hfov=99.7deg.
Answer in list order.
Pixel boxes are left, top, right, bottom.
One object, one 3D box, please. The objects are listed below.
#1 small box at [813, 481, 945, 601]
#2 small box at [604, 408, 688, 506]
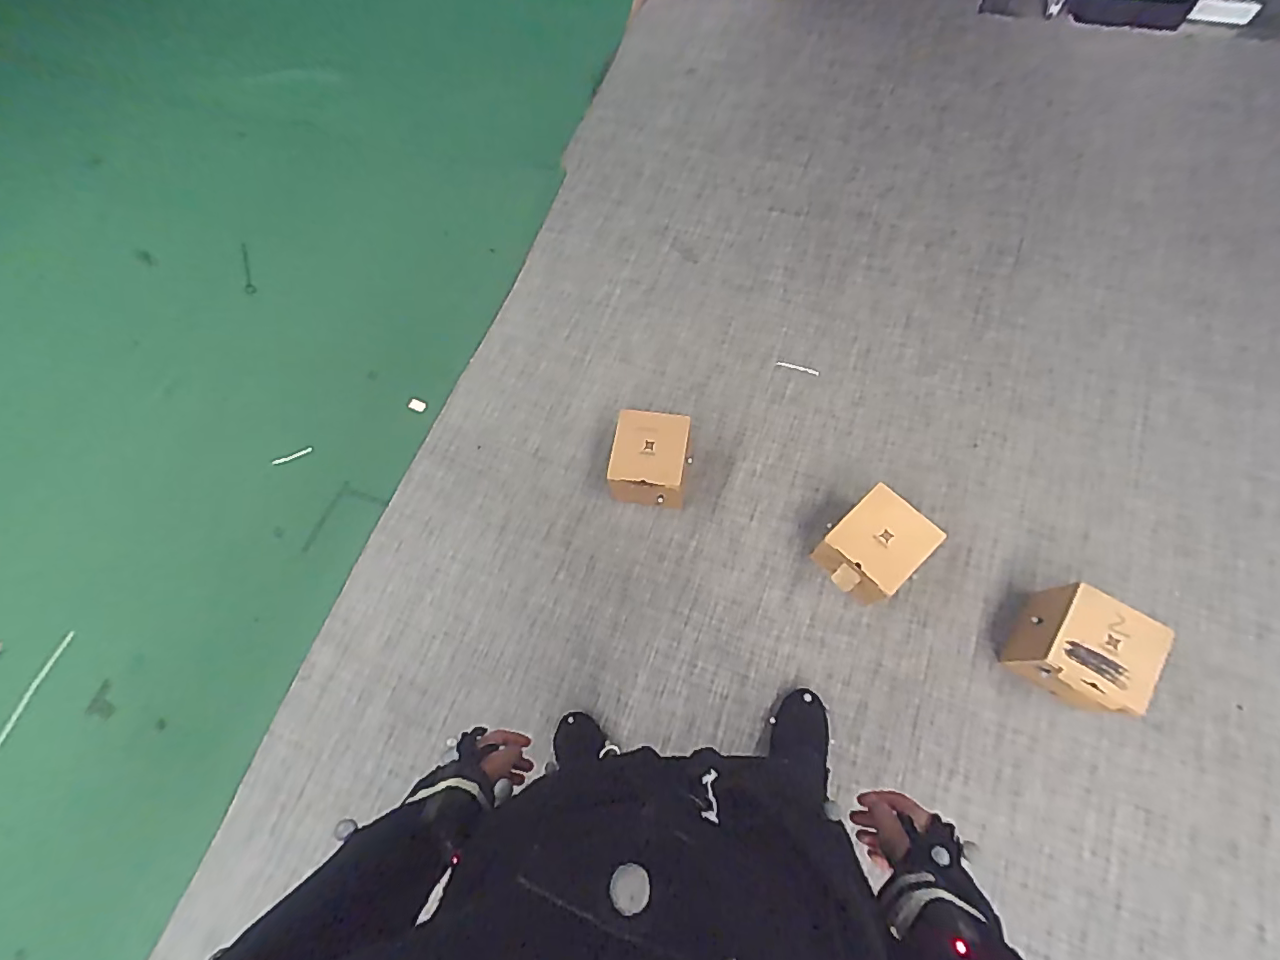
[{"bbox_3d":[0.493,0.135,1.149,0.179,0.176,0.168,-44,72,-8],"label":"small box"},{"bbox_3d":[0.022,-0.048,1.270,0.168,0.176,0.179,7,70,8],"label":"small box"}]
